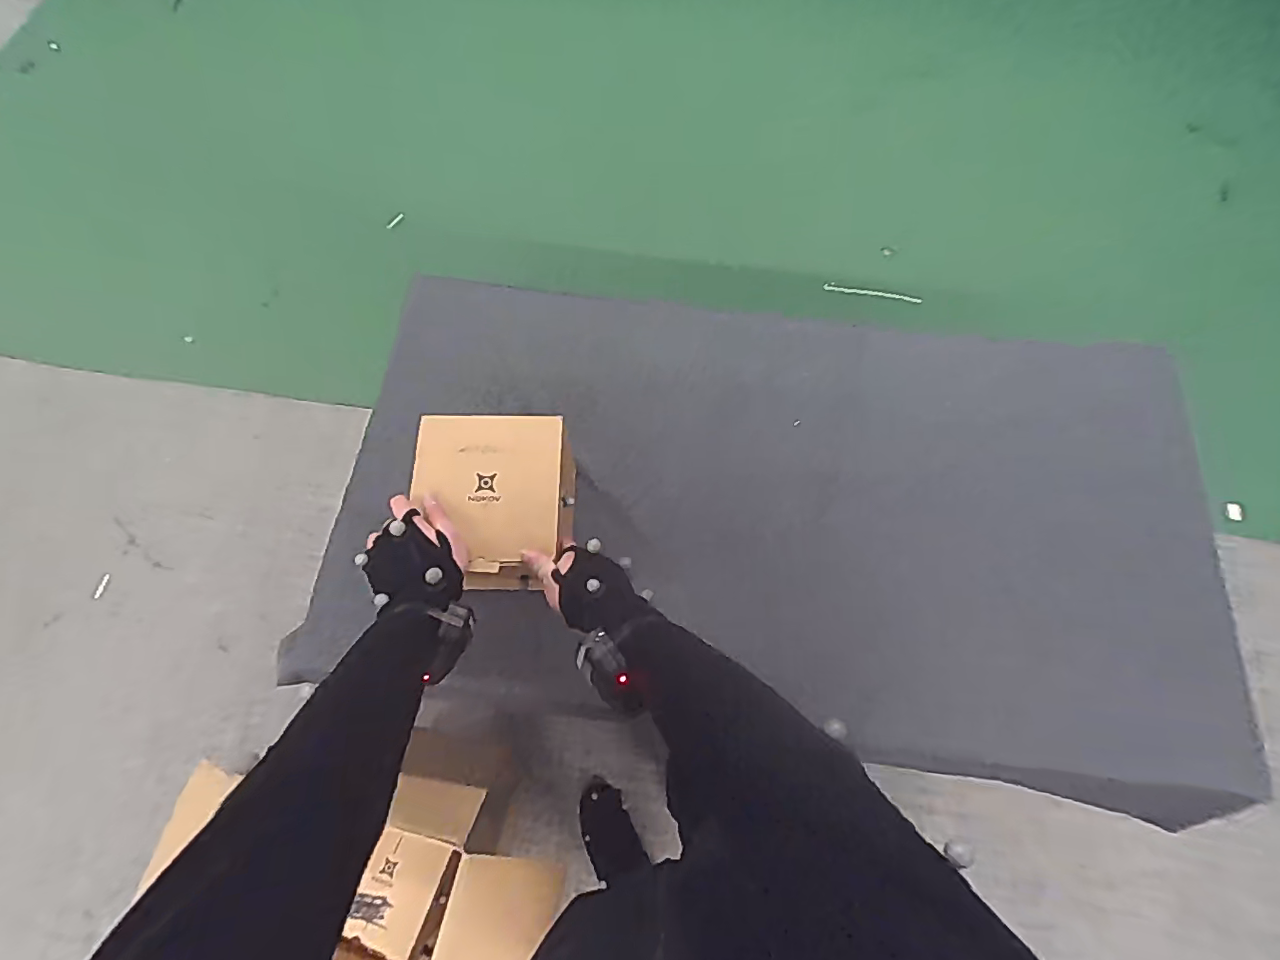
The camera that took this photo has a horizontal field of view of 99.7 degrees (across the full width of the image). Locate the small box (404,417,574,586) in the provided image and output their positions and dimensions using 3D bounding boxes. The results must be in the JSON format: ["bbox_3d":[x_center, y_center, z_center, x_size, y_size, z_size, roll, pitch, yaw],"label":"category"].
[{"bbox_3d":[-0.173,0.036,0.678,0.168,0.176,0.179,-1,69,-2],"label":"small box"}]
